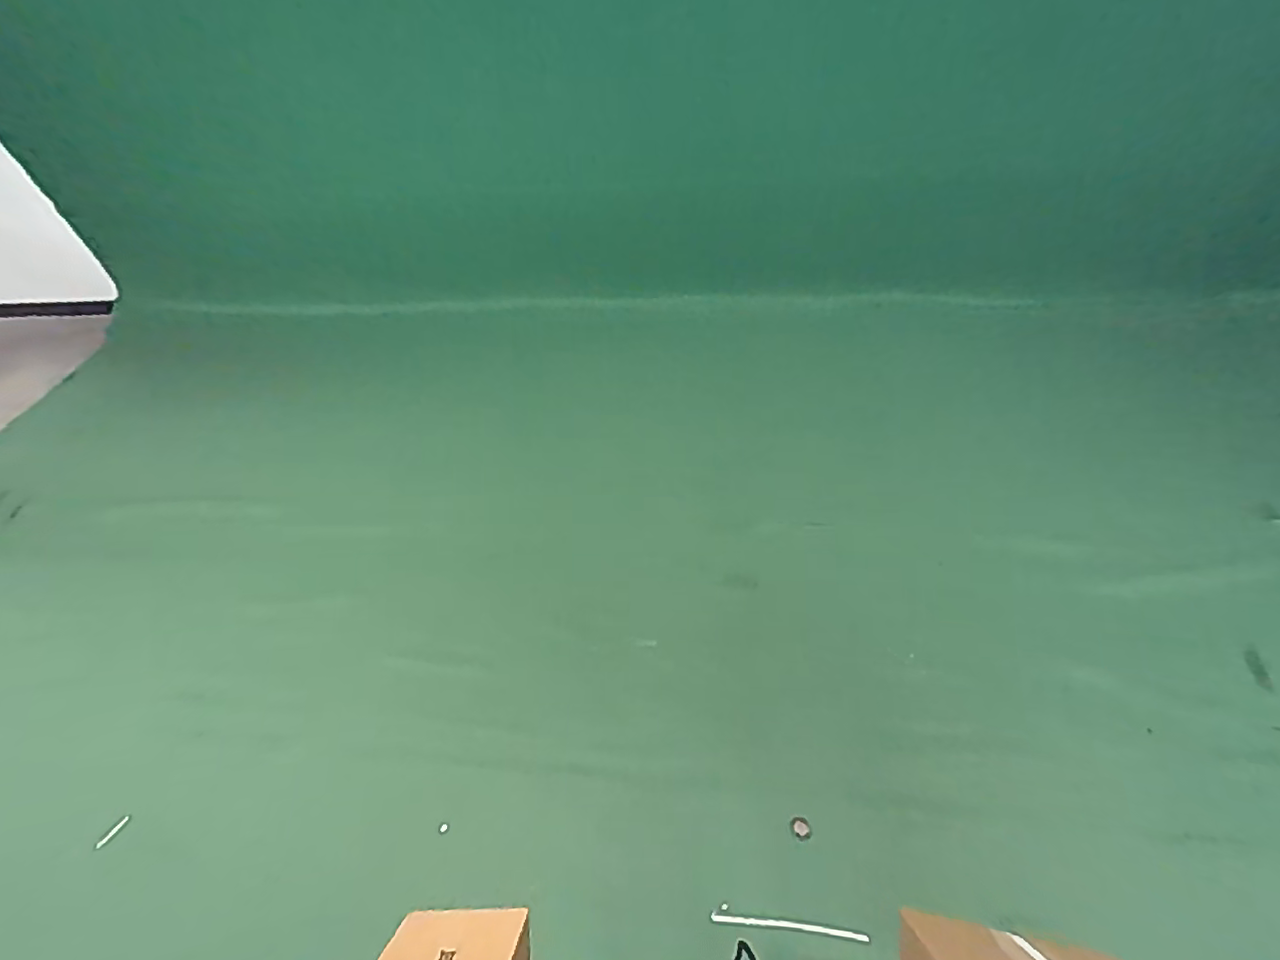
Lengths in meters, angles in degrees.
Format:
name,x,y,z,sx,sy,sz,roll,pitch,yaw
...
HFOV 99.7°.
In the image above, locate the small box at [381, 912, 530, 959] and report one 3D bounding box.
name,x,y,z,sx,sy,sz,roll,pitch,yaw
small box,-0.230,0.660,0.640,0.168,0.179,0.176,-3,84,1
